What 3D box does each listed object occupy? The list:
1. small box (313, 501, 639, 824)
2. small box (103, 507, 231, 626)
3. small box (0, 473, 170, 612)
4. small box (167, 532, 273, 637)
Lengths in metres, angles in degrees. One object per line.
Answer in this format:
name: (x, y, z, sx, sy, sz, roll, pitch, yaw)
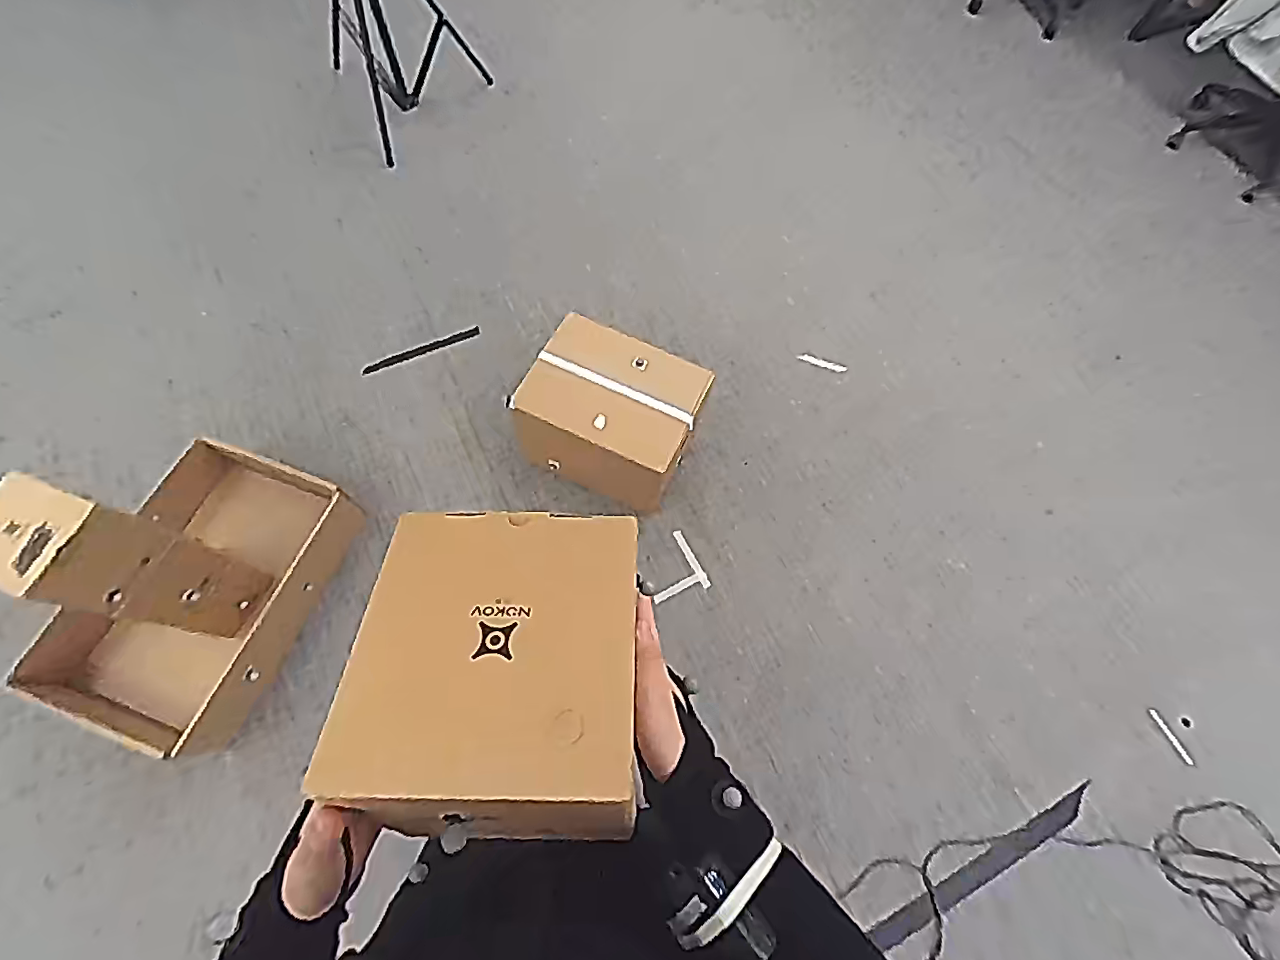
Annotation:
small box: (-0.085, 0.134, 0.386, 0.168, 0.176, 0.179, 1, 49, 0)
small box: (-0.989, 0.180, 1.081, 0.179, 0.176, 0.168, 22, 68, 4)
small box: (-0.984, 0.116, 0.930, 0.179, 0.176, 0.168, 20, 68, 6)
small box: (-0.998, 0.244, 1.229, 0.179, 0.176, 0.168, 23, 68, 6)
